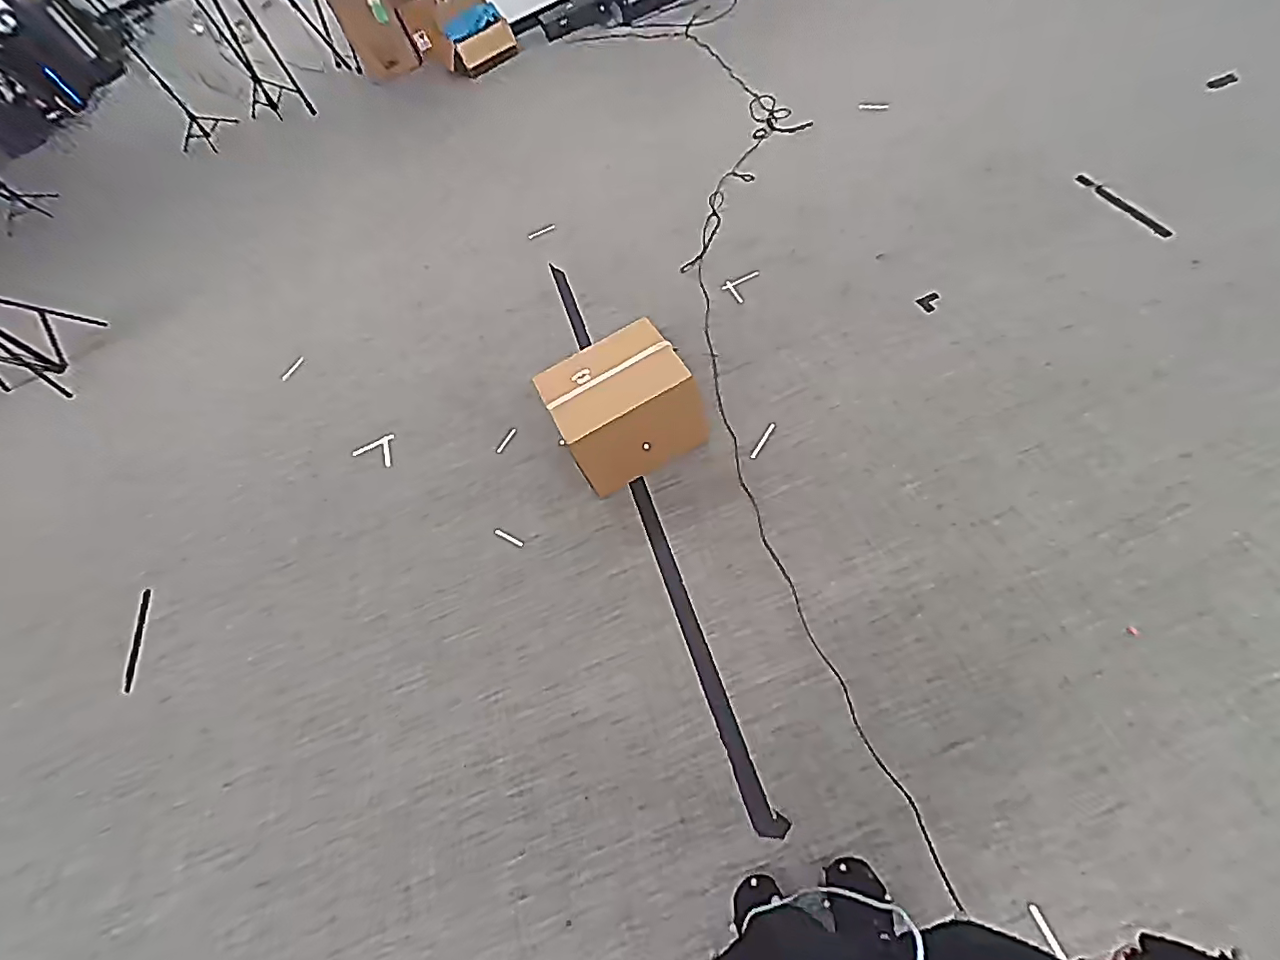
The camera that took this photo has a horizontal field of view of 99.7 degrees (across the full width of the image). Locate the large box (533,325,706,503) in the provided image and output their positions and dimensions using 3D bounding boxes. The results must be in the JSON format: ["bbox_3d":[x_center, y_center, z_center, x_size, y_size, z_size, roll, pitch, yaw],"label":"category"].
[{"bbox_3d":[-0.055,-0.200,1.698,0.408,0.320,0.320,-30,54,-2],"label":"large box"}]
